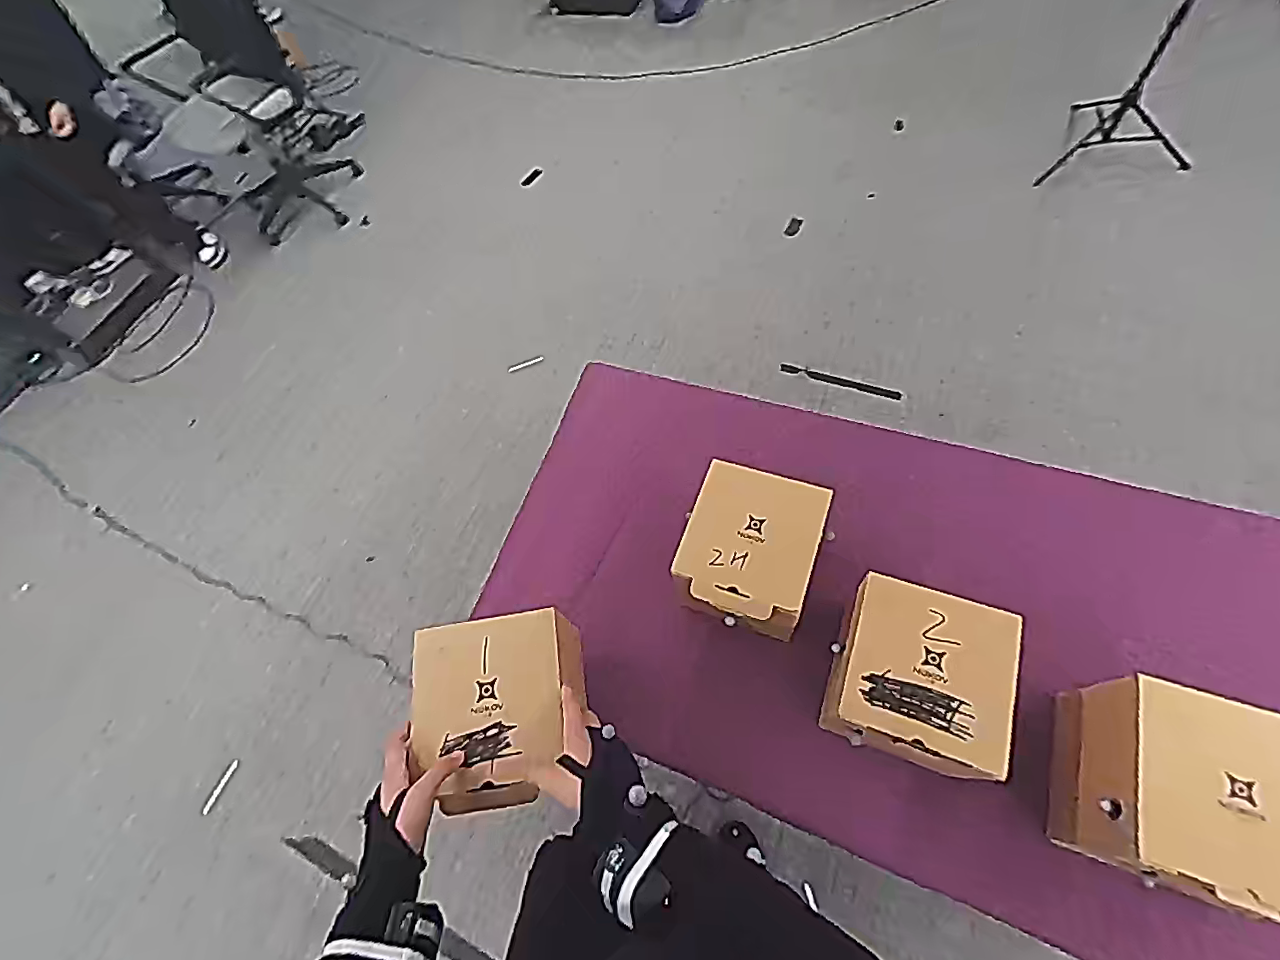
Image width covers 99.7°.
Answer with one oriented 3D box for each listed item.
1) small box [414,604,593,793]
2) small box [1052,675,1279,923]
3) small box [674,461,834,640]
[{"bbox_3d":[-0.156,0.265,0.660,0.168,0.176,0.179,-9,64,0],"label":"small box"},{"bbox_3d":[0.573,0.331,0.574,0.168,0.176,0.179,15,67,17],"label":"small box"},{"bbox_3d":[0.160,0.104,0.765,0.168,0.176,0.179,16,67,18],"label":"small box"}]
